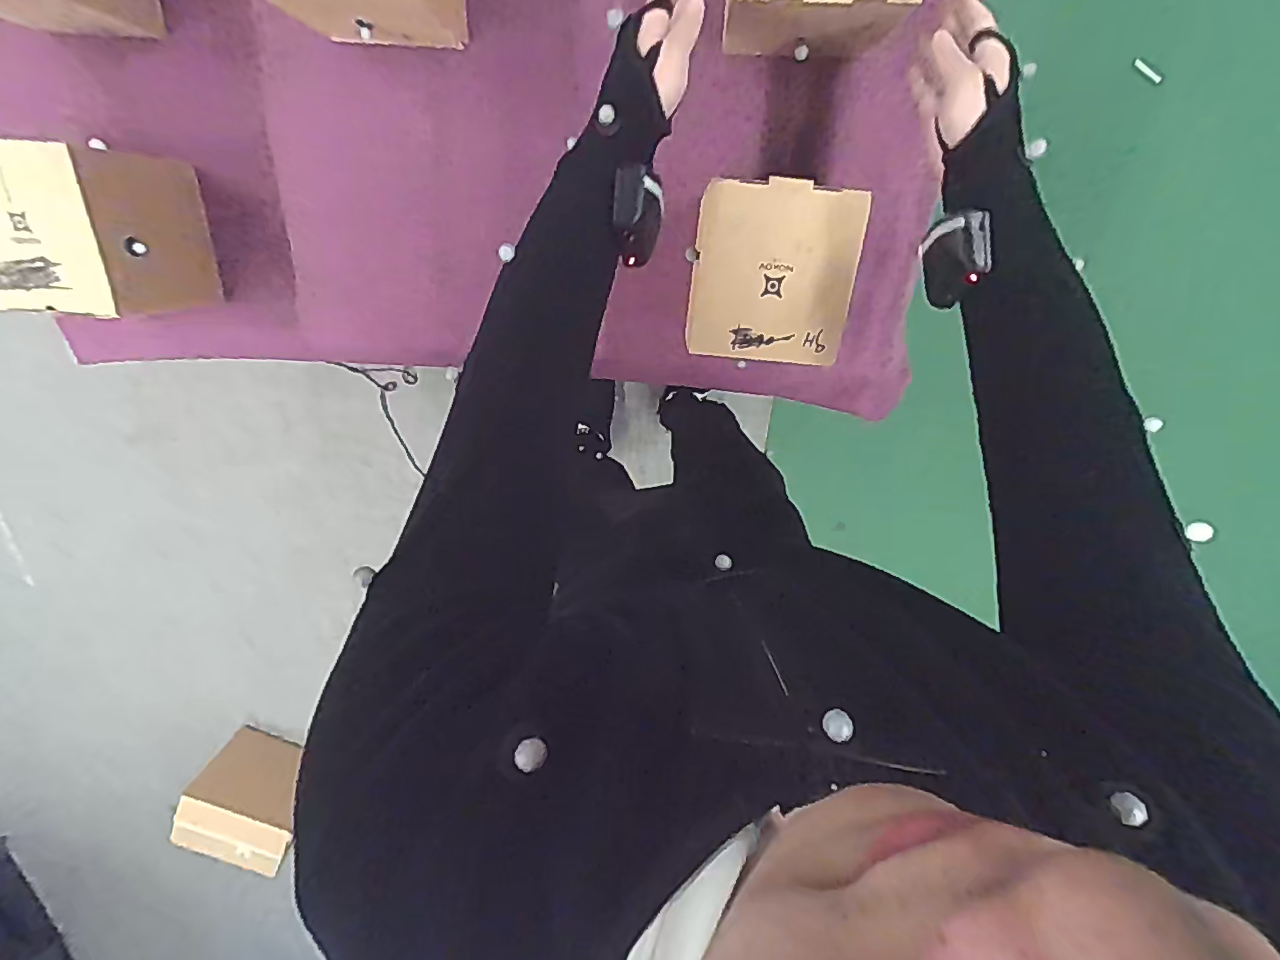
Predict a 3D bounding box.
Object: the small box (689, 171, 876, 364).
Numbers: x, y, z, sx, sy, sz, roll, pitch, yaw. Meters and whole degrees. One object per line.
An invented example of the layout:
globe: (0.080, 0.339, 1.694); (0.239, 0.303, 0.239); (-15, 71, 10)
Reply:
small box: (0.149, -0.244, 0.638); (0.168, 0.176, 0.179); (6, 111, 2)

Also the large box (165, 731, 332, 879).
large box: (-1.508, 1.256, 2.106); (0.408, 0.320, 0.320); (26, 113, -9)

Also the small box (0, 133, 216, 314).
small box: (-0.665, -0.306, 0.654); (0.168, 0.176, 0.179); (4, 113, 1)

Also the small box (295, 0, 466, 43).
small box: (-0.279, -0.564, 0.524); (0.168, 0.176, 0.179); (4, 115, 1)

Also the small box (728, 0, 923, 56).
small box: (0.176, -0.534, 0.509); (0.168, 0.176, 0.179); (4, 116, 3)
